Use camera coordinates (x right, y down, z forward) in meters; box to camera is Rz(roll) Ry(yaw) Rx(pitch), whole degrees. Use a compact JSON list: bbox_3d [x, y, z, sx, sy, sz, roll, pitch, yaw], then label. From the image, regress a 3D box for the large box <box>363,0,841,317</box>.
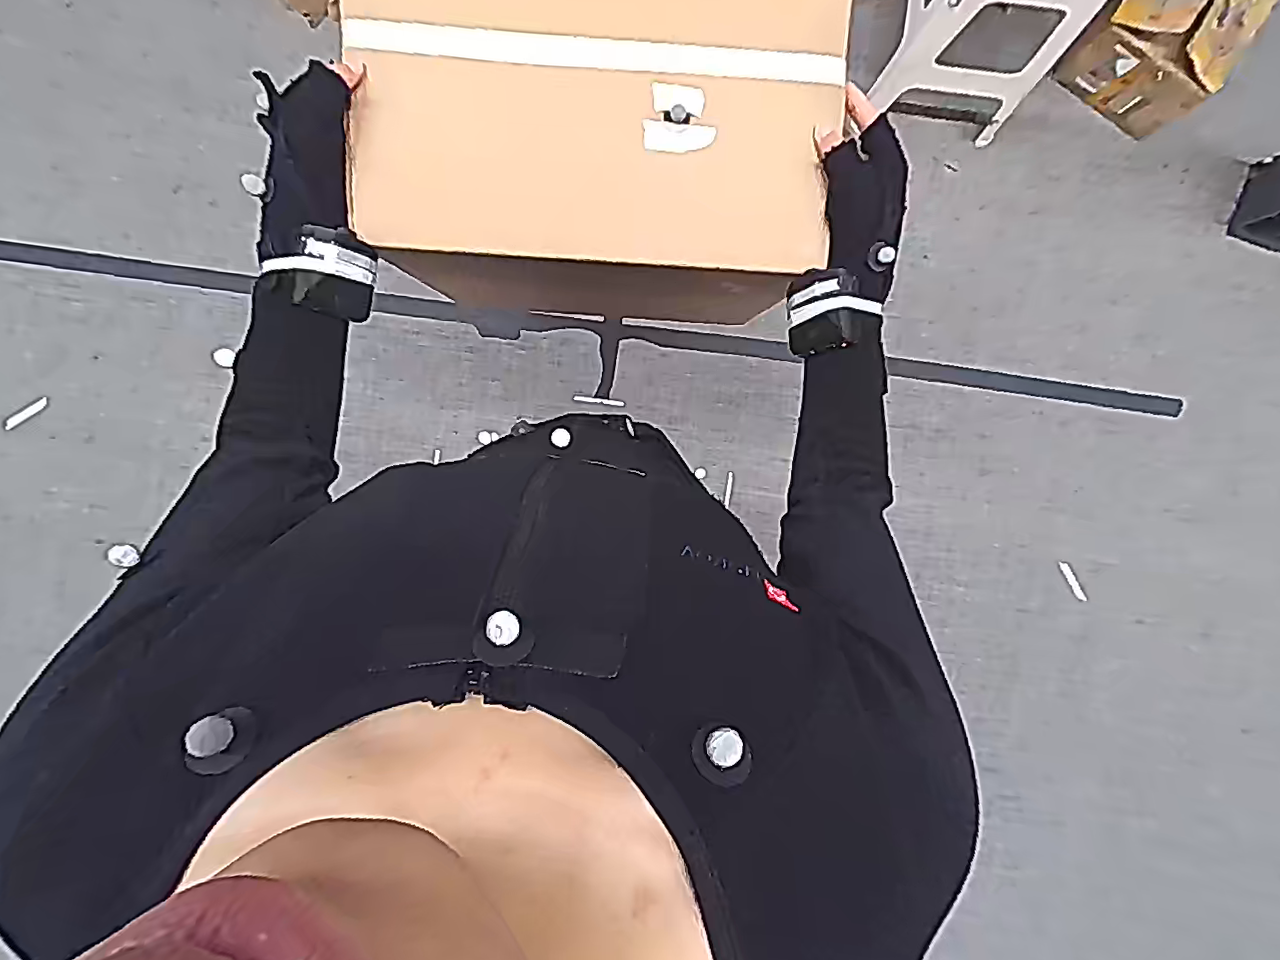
[{"bbox_3d":[-0.039,-0.369,0.603,0.408,0.320,0.320,2,99,-3],"label":"large box"}]
